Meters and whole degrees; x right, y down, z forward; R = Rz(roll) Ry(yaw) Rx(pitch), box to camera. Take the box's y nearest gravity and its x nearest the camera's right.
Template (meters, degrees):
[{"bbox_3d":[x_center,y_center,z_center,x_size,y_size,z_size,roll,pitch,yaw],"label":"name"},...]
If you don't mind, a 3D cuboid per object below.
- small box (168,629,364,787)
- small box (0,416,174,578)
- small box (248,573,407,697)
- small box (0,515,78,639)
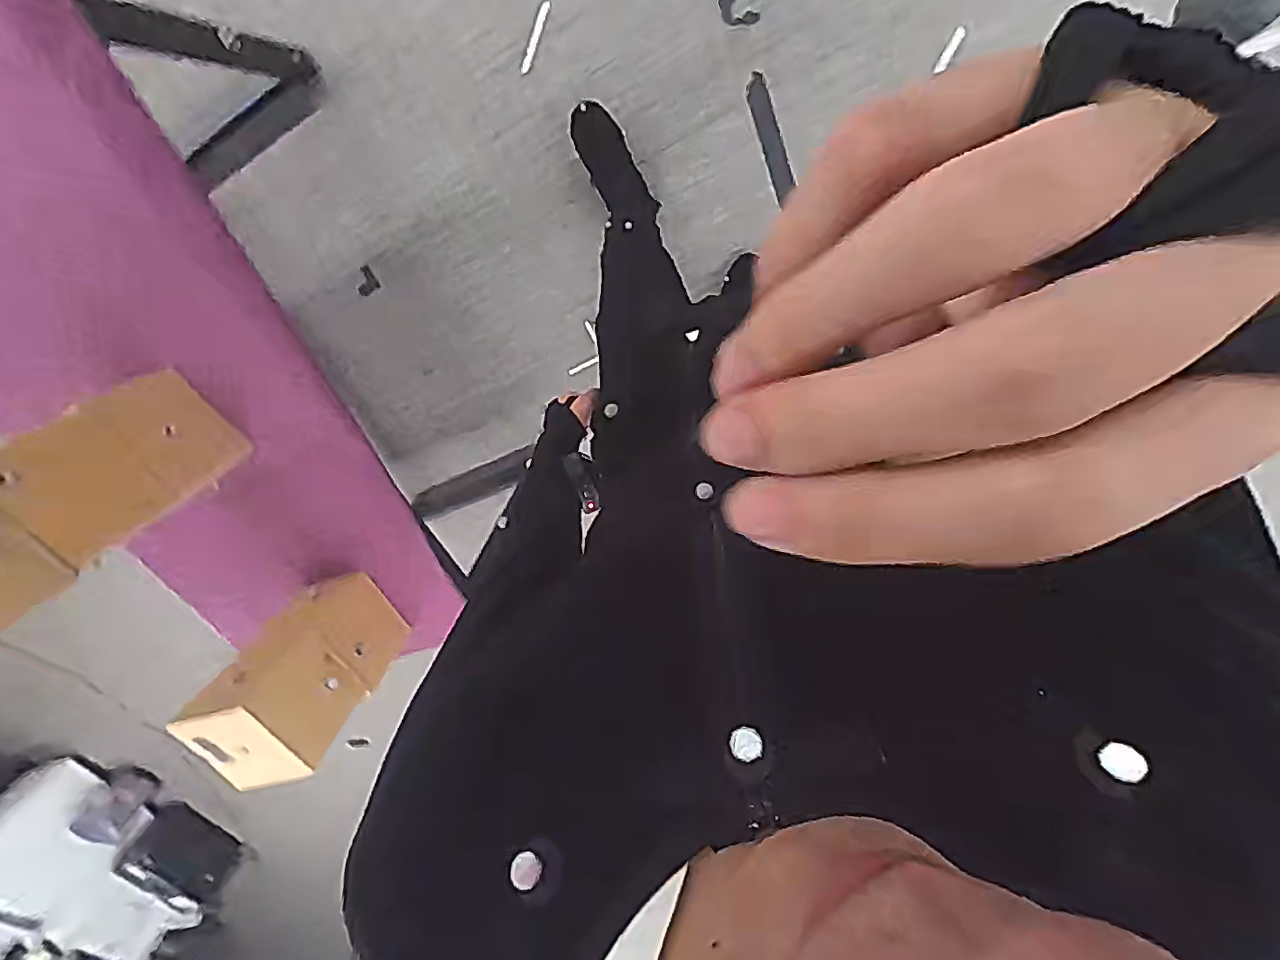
[{"bbox_3d":[-0.620,0.384,0.920,0.179,0.176,0.168,-19,116,16],"label":"small box"},{"bbox_3d":[-0.815,0.041,0.744,0.168,0.176,0.179,-23,115,18],"label":"small box"},{"bbox_3d":[-0.602,0.314,1.069,0.168,0.176,0.179,-18,116,16],"label":"small box"},{"bbox_3d":[-0.823,0.130,0.606,0.168,0.176,0.179,-22,115,19],"label":"small box"}]
